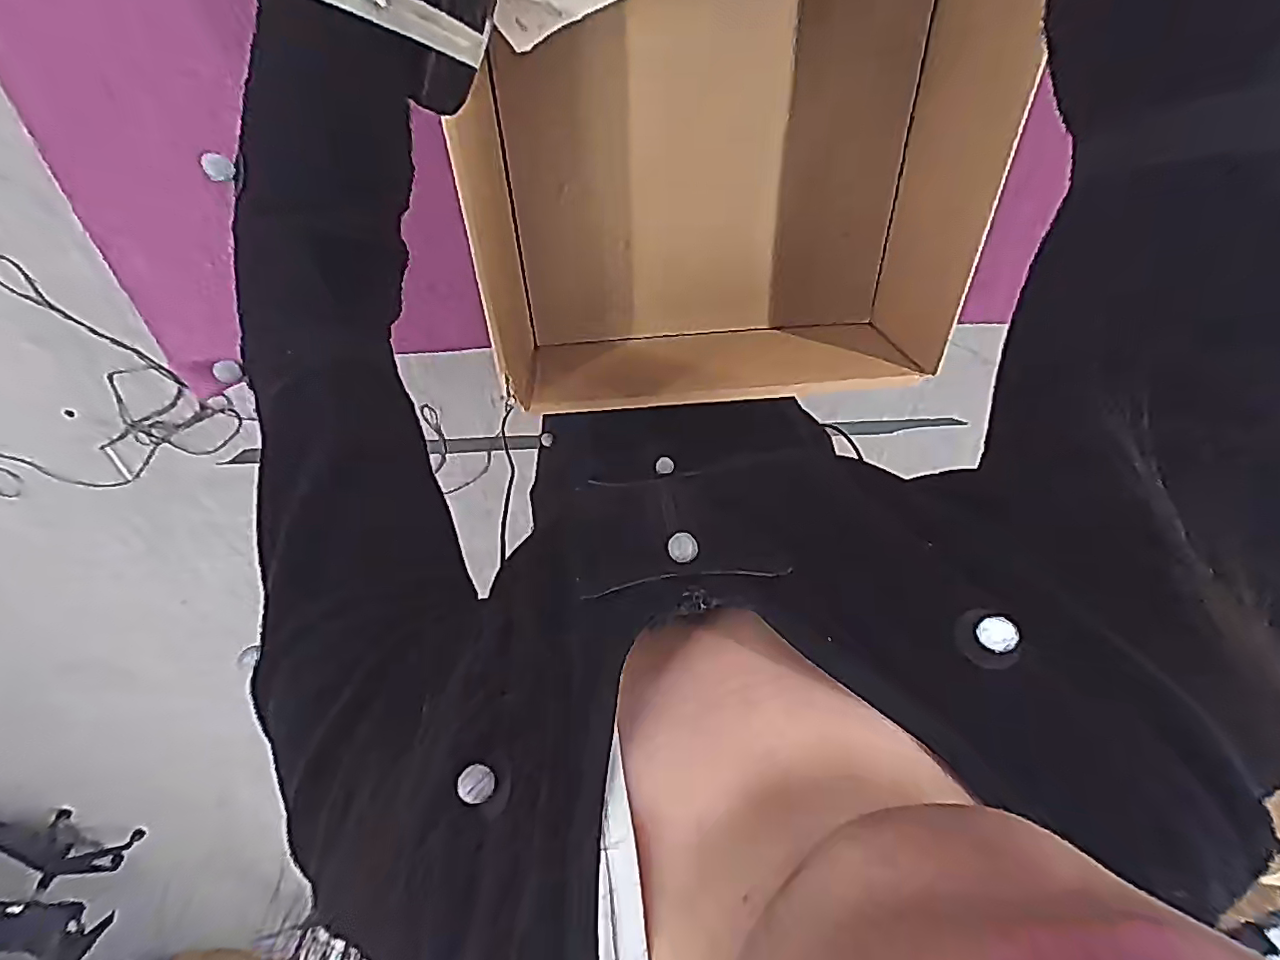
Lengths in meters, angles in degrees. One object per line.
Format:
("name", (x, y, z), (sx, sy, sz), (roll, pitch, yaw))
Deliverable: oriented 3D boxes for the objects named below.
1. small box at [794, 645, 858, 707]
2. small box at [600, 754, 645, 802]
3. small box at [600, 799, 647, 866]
("small box", (0.792, 0.837, 2.314), (0.179, 0.176, 0.168), (33, 119, -25))
("small box", (-0.075, 1.210, 2.154), (0.168, 0.176, 0.179), (1, 128, -6))
("small box", (-0.064, 1.318, 2.031), (0.168, 0.176, 0.179), (-1, 127, -3))
